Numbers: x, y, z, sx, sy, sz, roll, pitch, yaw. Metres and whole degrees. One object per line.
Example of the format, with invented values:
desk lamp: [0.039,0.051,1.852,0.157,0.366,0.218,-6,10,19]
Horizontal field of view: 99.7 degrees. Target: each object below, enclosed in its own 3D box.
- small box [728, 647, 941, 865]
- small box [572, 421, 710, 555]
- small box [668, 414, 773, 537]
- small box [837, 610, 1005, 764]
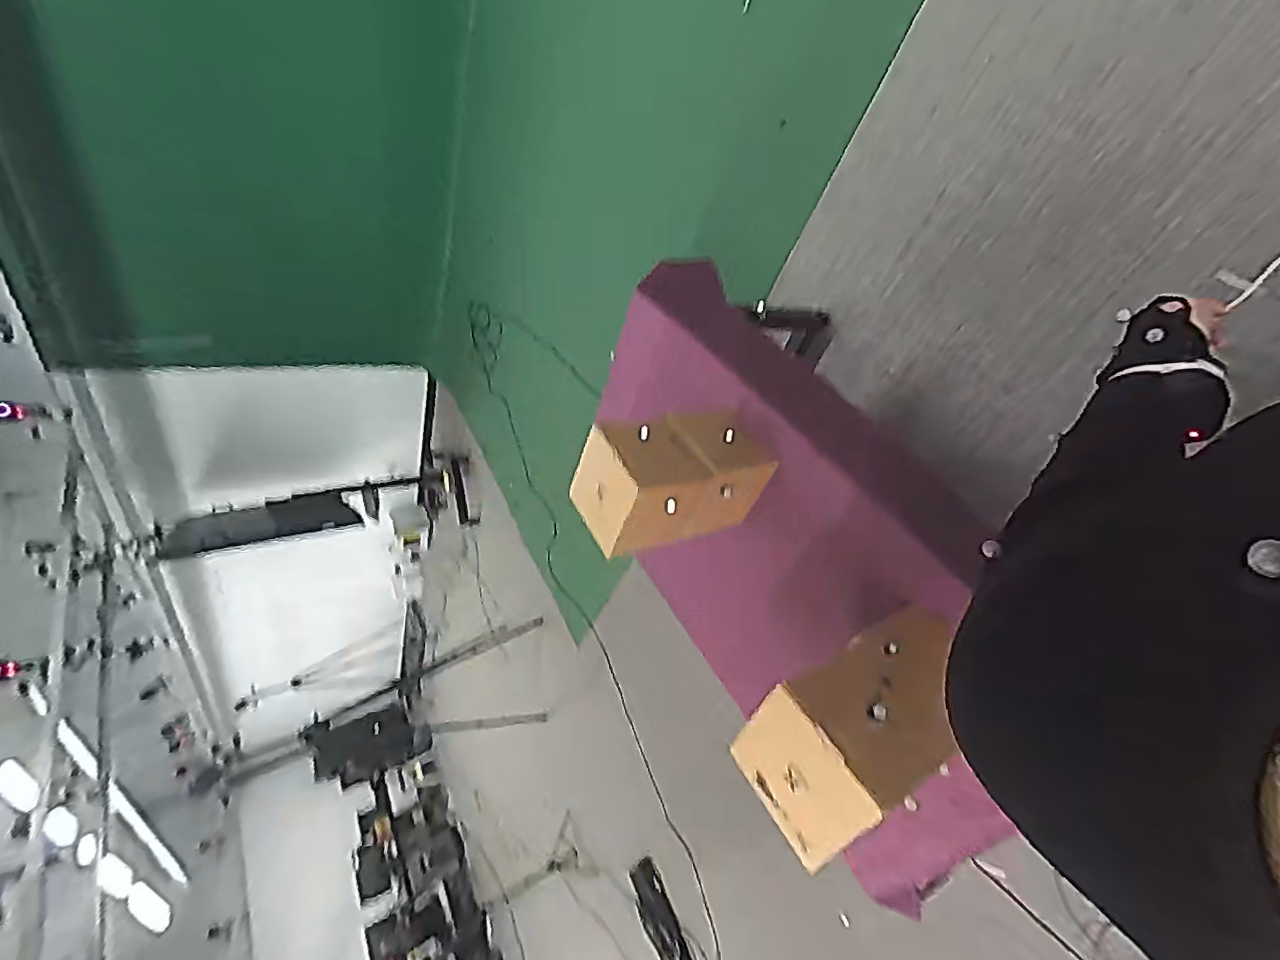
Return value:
small box: [0.254,0.348,0.706,0.168,0.176,0.179,52,136,36]
small box: [0.002,0.007,0.985,0.168,0.176,0.179,56,138,32]
small box: [0.136,-0.016,1.076,0.168,0.176,0.179,54,137,33]
small box: [0.386,0.322,0.801,0.179,0.176,0.168,52,136,36]
